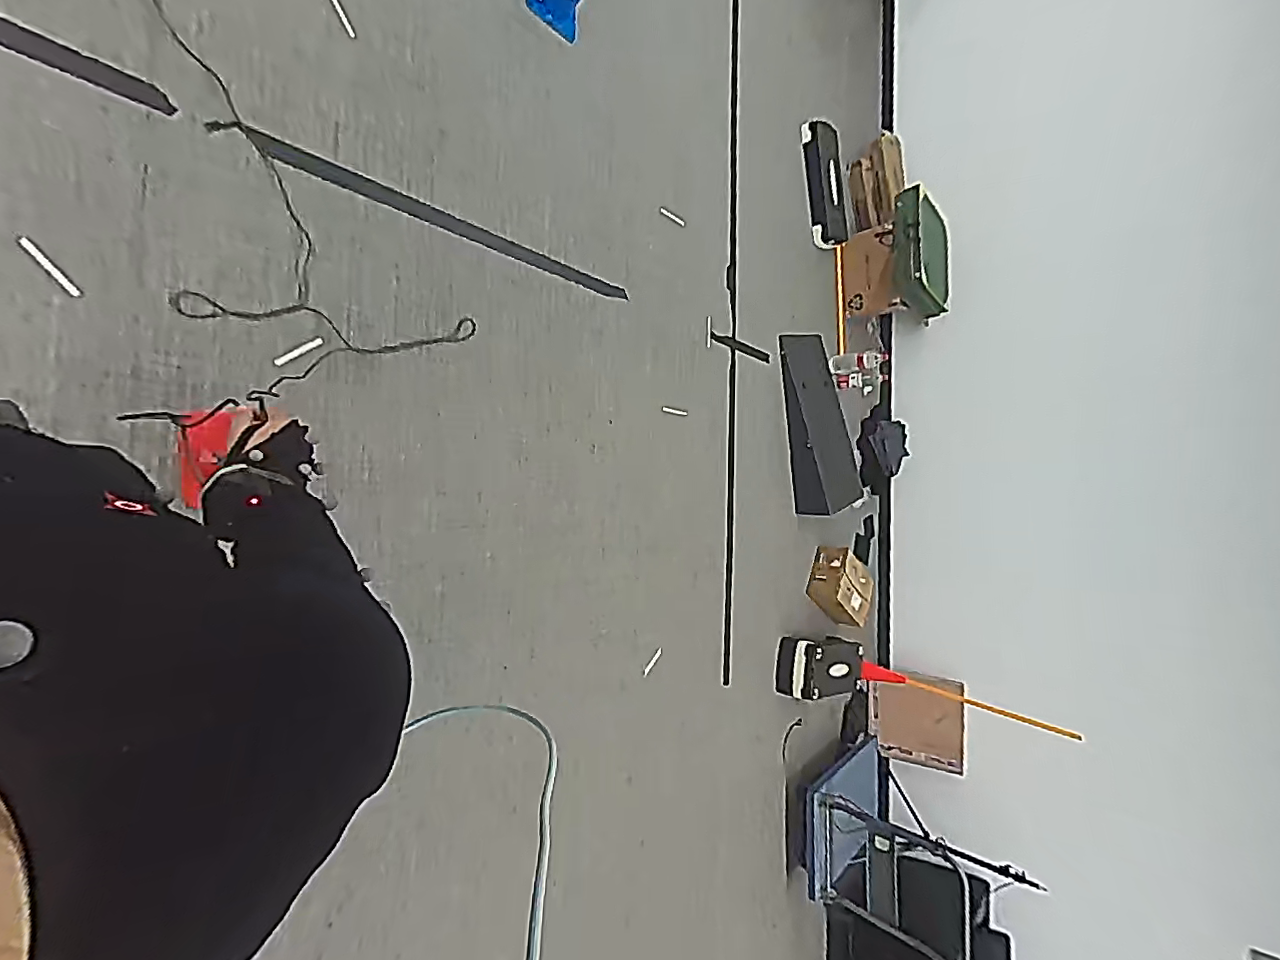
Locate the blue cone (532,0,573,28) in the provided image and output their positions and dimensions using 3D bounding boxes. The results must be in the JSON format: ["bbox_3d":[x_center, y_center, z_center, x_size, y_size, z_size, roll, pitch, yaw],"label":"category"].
[{"bbox_3d":[-0.173,-1.601,1.642,0.193,0.380,0.192,5,85,-47],"label":"blue cone"}]

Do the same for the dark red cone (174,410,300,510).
[{"bbox_3d":[-0.713,-0.049,1.011,0.202,0.394,0.201,-7,94,-47],"label":"dark red cone"}]
